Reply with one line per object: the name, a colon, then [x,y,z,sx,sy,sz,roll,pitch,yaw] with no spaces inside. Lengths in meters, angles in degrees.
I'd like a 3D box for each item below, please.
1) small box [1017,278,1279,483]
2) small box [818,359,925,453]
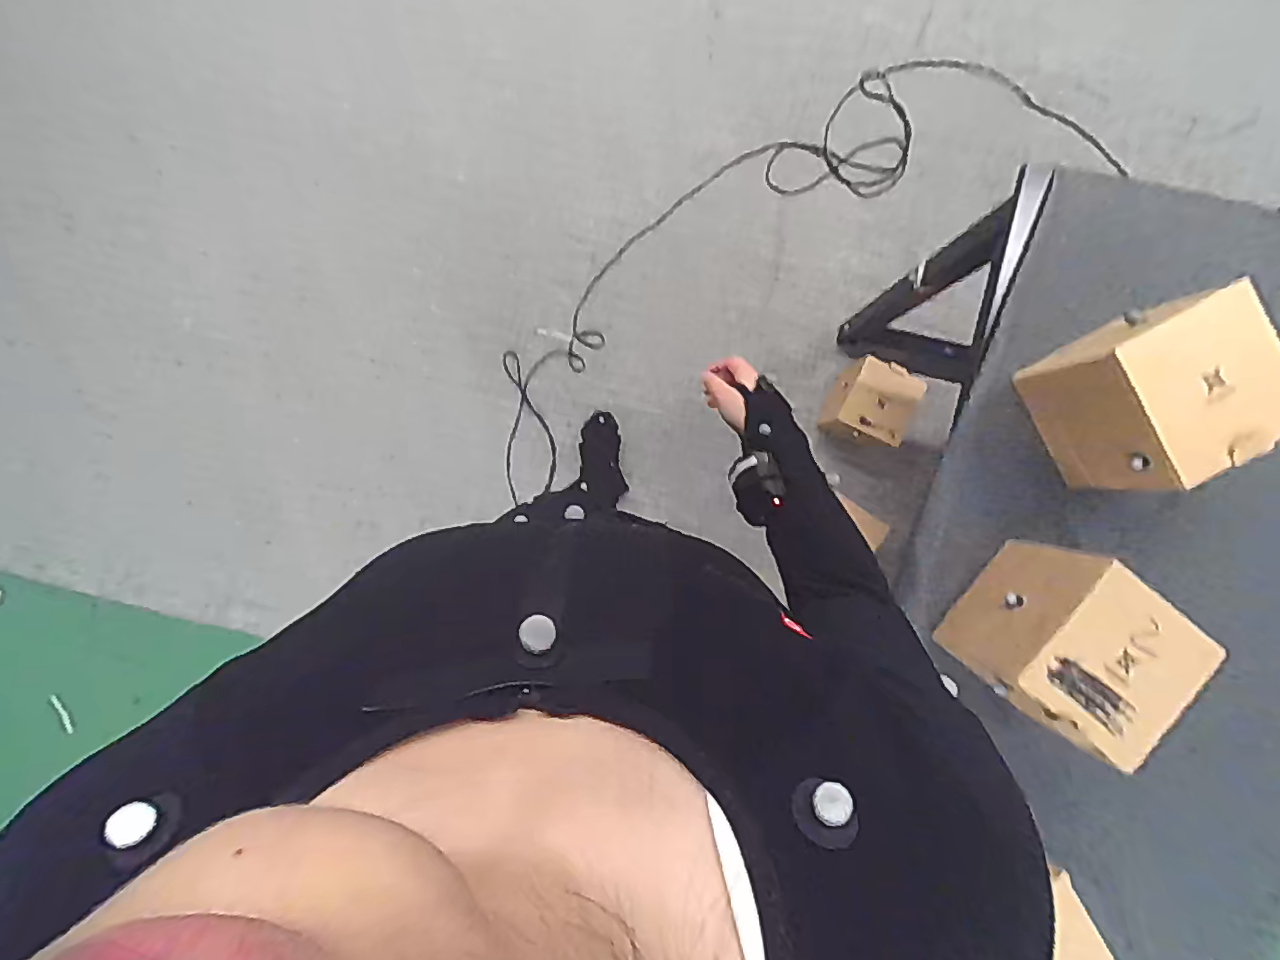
small box: [0.618,-0.107,0.662,0.168,0.176,0.179,-29,91,0]
small box: [0.584,-0.183,1.390,0.168,0.176,0.179,26,89,0]
